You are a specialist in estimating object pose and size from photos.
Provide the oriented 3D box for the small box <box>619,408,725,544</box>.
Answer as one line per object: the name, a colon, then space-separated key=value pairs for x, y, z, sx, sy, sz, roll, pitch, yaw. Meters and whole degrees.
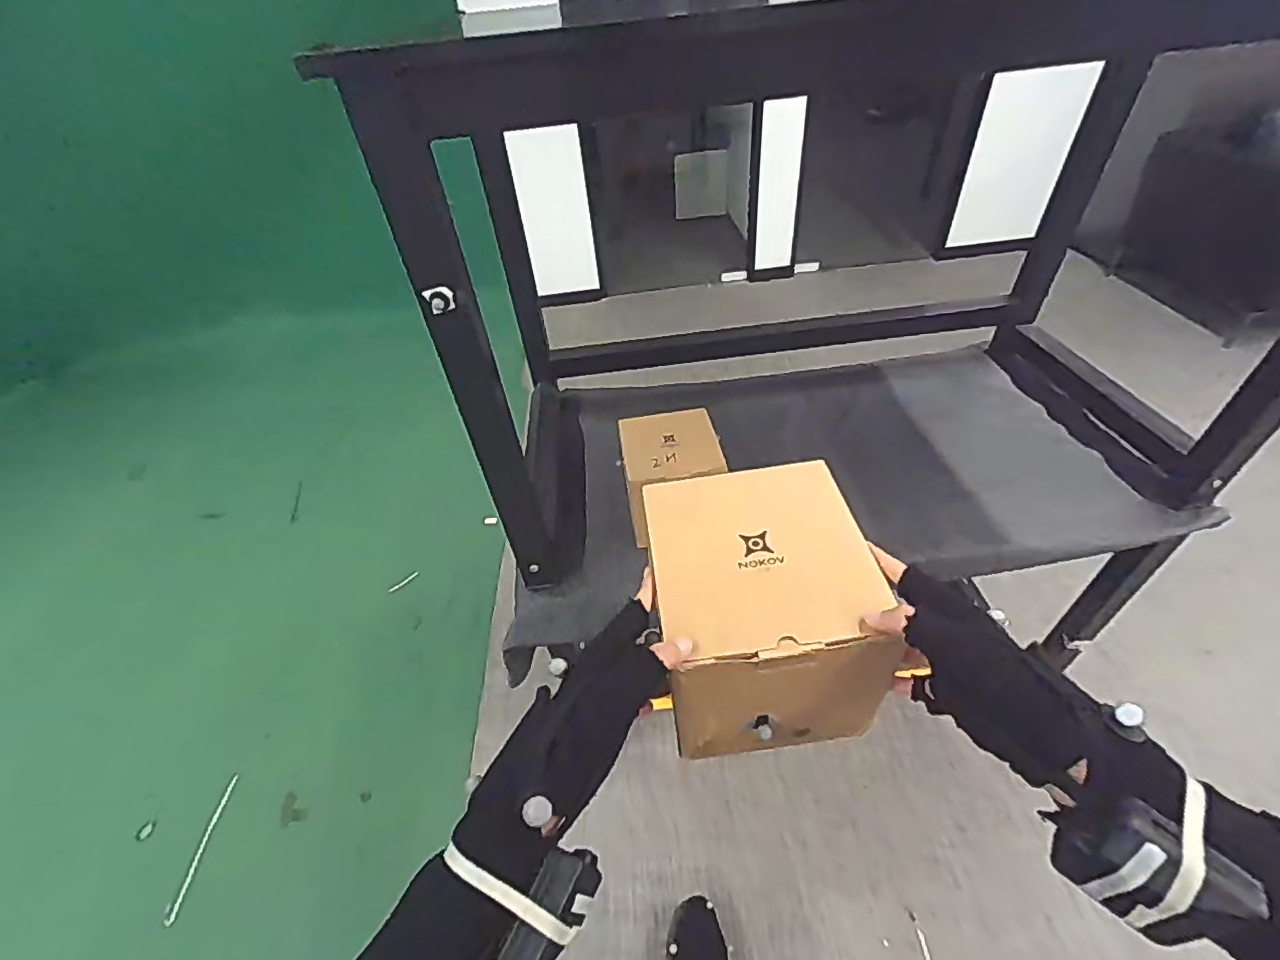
small box: x=0.056 y=-0.008 z=0.995 sx=0.168 sy=0.176 sz=0.179 roll=-9 pitch=43 yaw=-2
